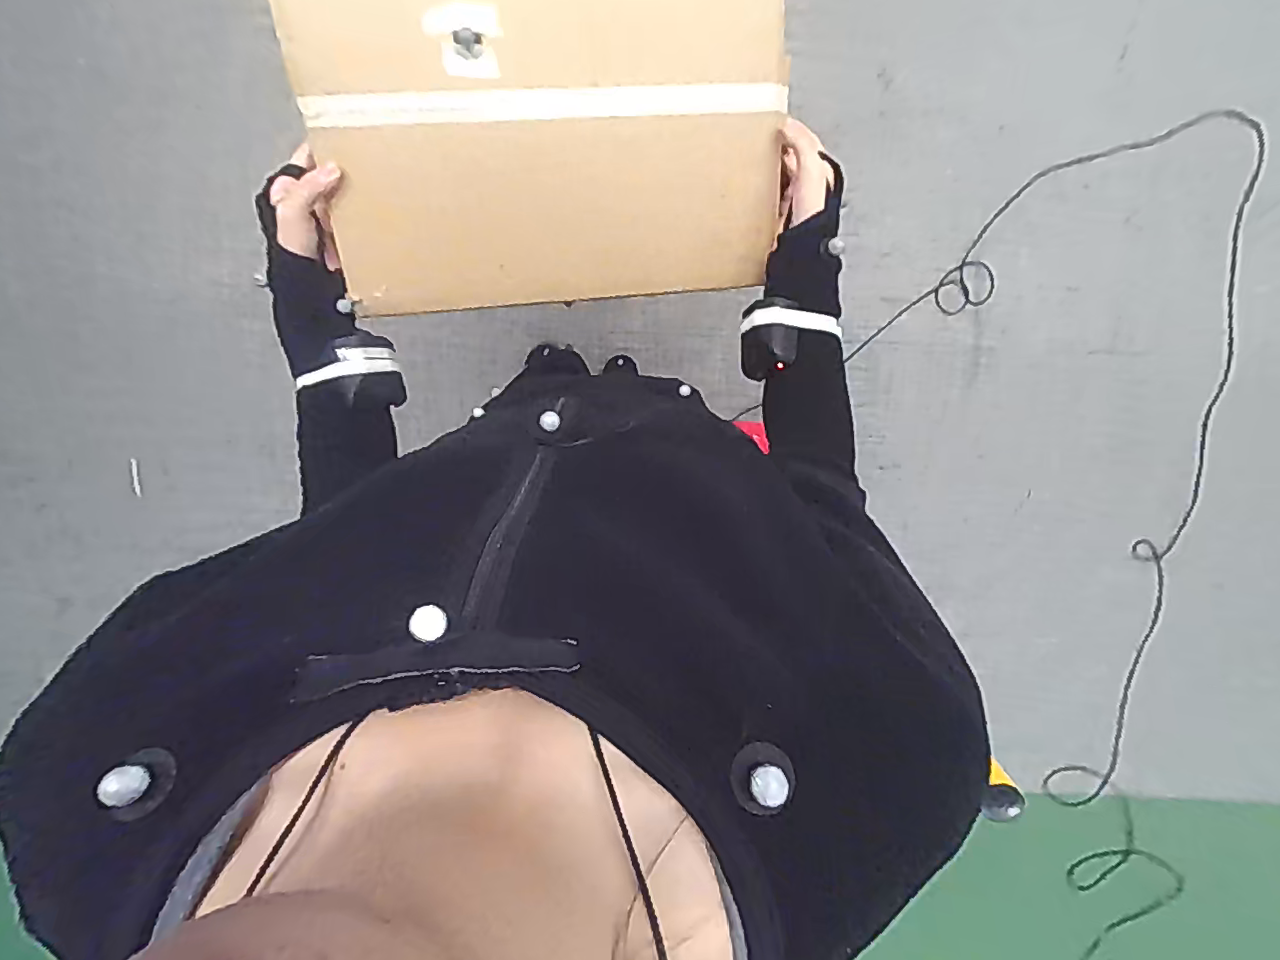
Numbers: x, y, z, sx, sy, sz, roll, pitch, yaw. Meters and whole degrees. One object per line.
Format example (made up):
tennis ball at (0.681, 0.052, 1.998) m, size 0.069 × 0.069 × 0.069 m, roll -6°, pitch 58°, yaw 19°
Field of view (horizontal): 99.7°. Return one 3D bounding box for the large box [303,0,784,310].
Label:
large box at (-0.089, -0.381, 0.613) m, size 0.408 × 0.320 × 0.320 m, roll -6°, pitch 113°, yaw -9°
